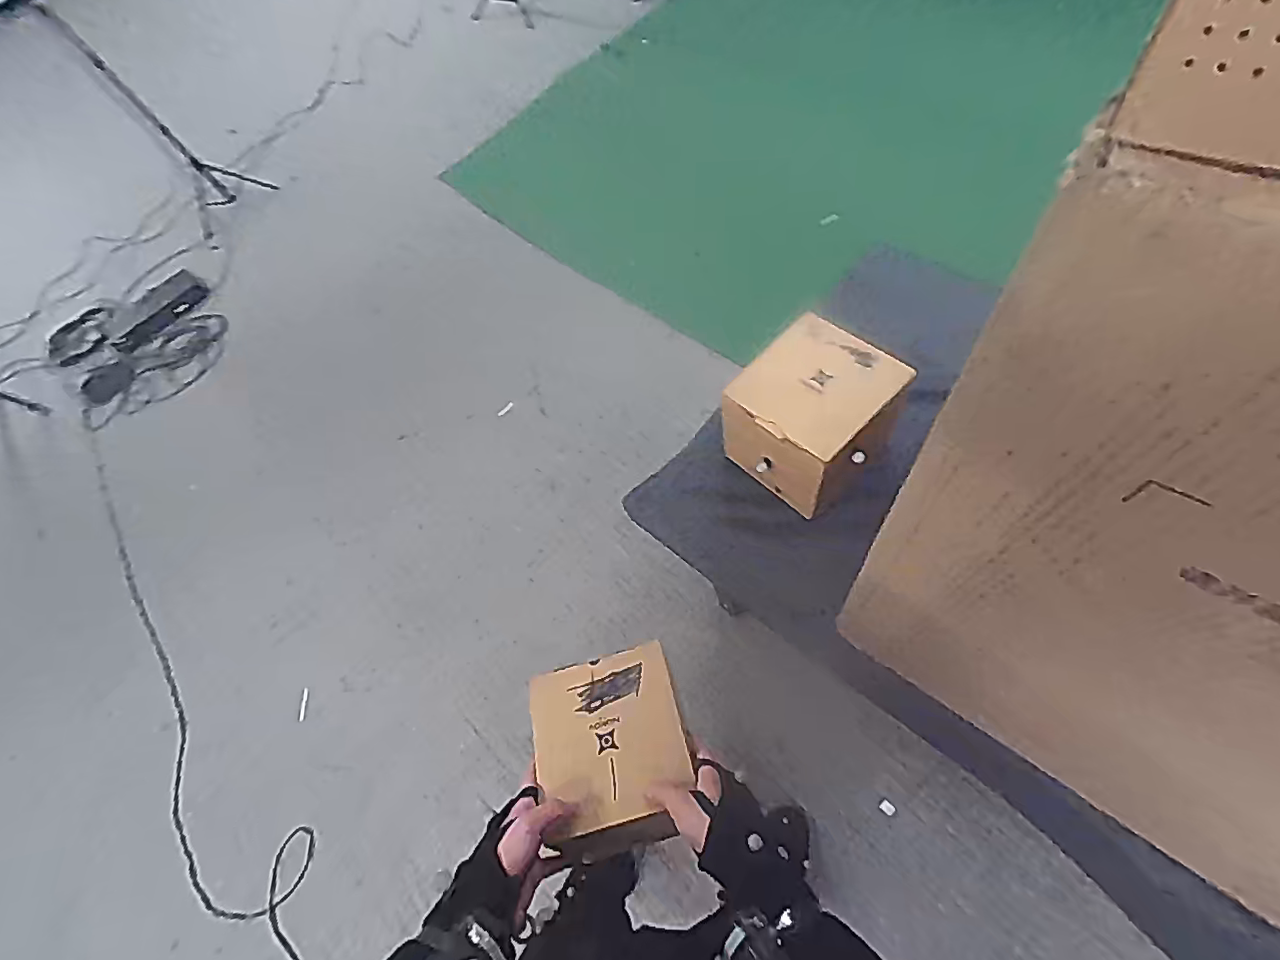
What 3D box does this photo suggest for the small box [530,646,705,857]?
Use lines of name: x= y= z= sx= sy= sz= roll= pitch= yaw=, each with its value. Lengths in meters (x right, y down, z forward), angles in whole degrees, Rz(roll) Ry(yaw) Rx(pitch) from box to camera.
small box: x=-0.026 y=0.334 z=0.662 sx=0.168 sy=0.176 sz=0.179 roll=-16 pitch=50 yaw=1
